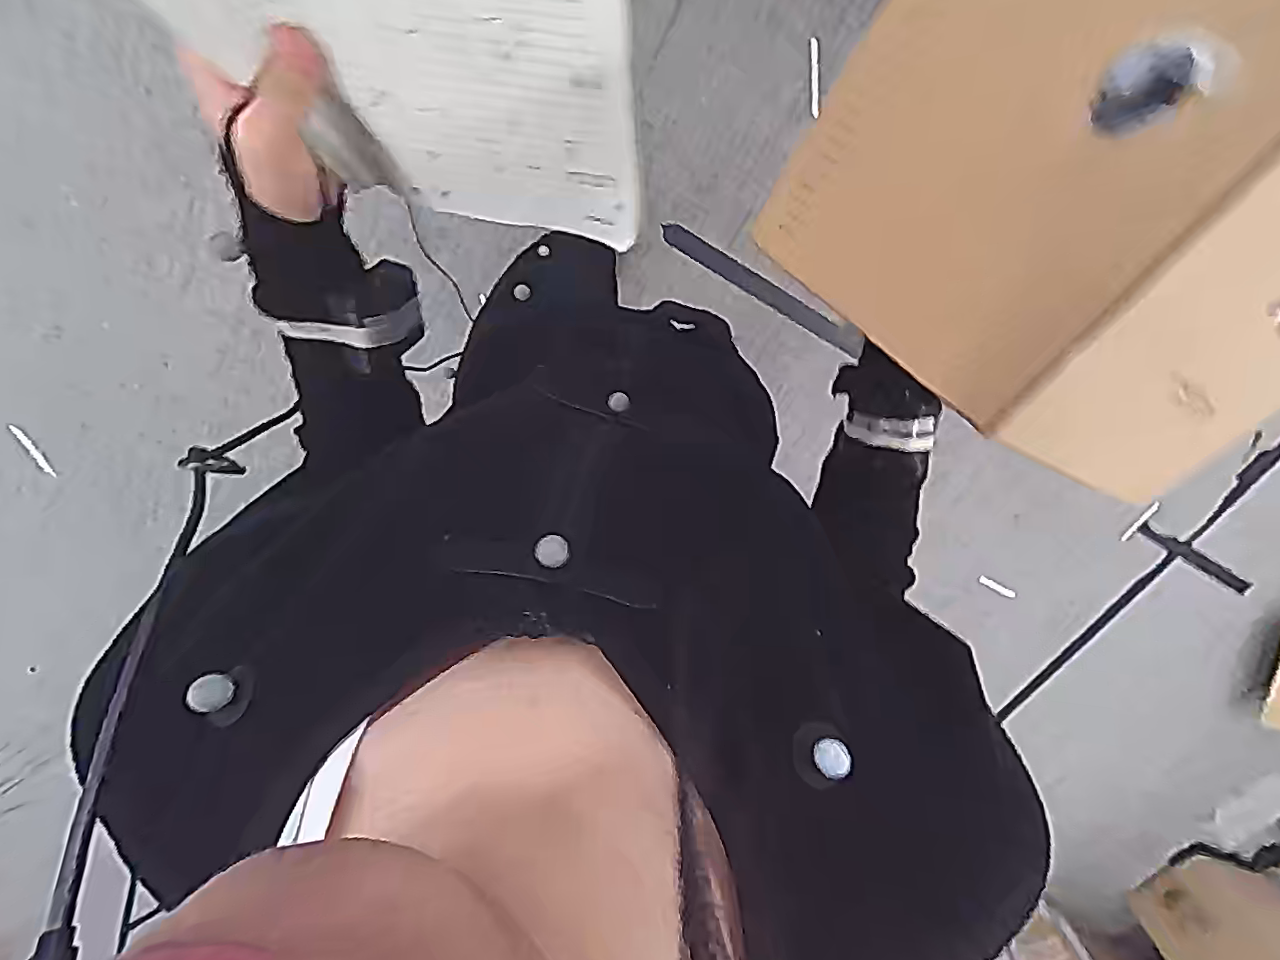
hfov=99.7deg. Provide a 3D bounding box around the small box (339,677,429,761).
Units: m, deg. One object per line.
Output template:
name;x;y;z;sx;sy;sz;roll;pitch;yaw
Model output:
small box;-0.668;0.645;1.395;0.168;0.176;0.179;31;110;-14

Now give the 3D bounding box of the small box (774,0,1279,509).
small box;0.190;-0.116;0.224;0.168;0.176;0.179;12;126;-34

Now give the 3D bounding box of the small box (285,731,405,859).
small box;-0.669;0.719;1.248;0.168;0.176;0.179;29;109;-13
